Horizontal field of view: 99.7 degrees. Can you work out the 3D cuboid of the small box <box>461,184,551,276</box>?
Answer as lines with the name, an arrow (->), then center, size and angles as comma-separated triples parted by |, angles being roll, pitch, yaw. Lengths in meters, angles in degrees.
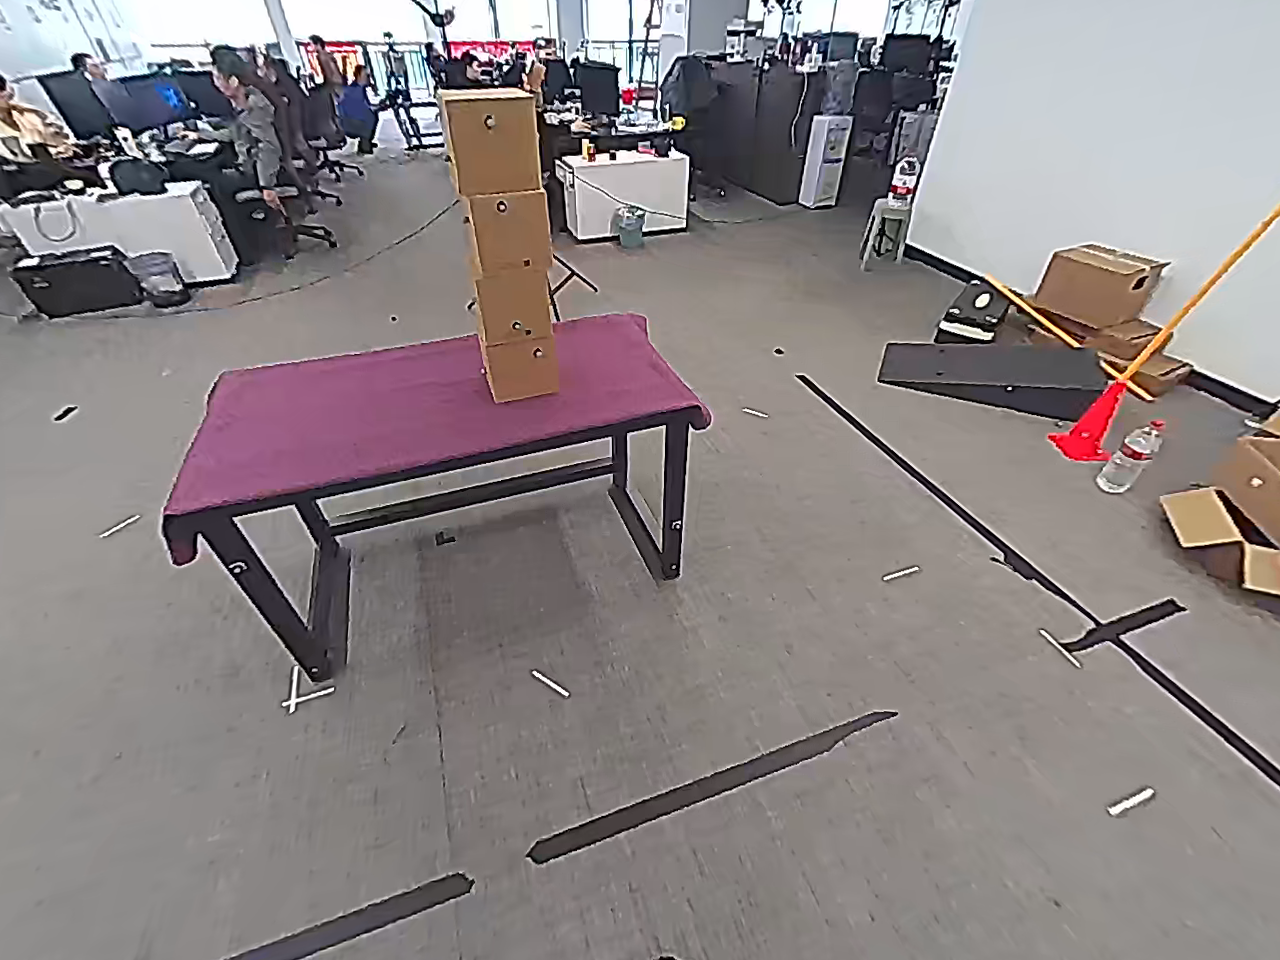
small box -> -0.310, -0.585, 1.245 | 0.168, 0.176, 0.179 | -15, 42, -16

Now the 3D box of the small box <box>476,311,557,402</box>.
small box -> -0.327, -0.331, 1.452 | 0.179, 0.176, 0.168 | -15, 42, -16

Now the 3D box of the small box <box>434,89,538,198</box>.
small box -> -0.321, -0.714, 1.145 | 0.179, 0.176, 0.168 | -15, 43, -17
